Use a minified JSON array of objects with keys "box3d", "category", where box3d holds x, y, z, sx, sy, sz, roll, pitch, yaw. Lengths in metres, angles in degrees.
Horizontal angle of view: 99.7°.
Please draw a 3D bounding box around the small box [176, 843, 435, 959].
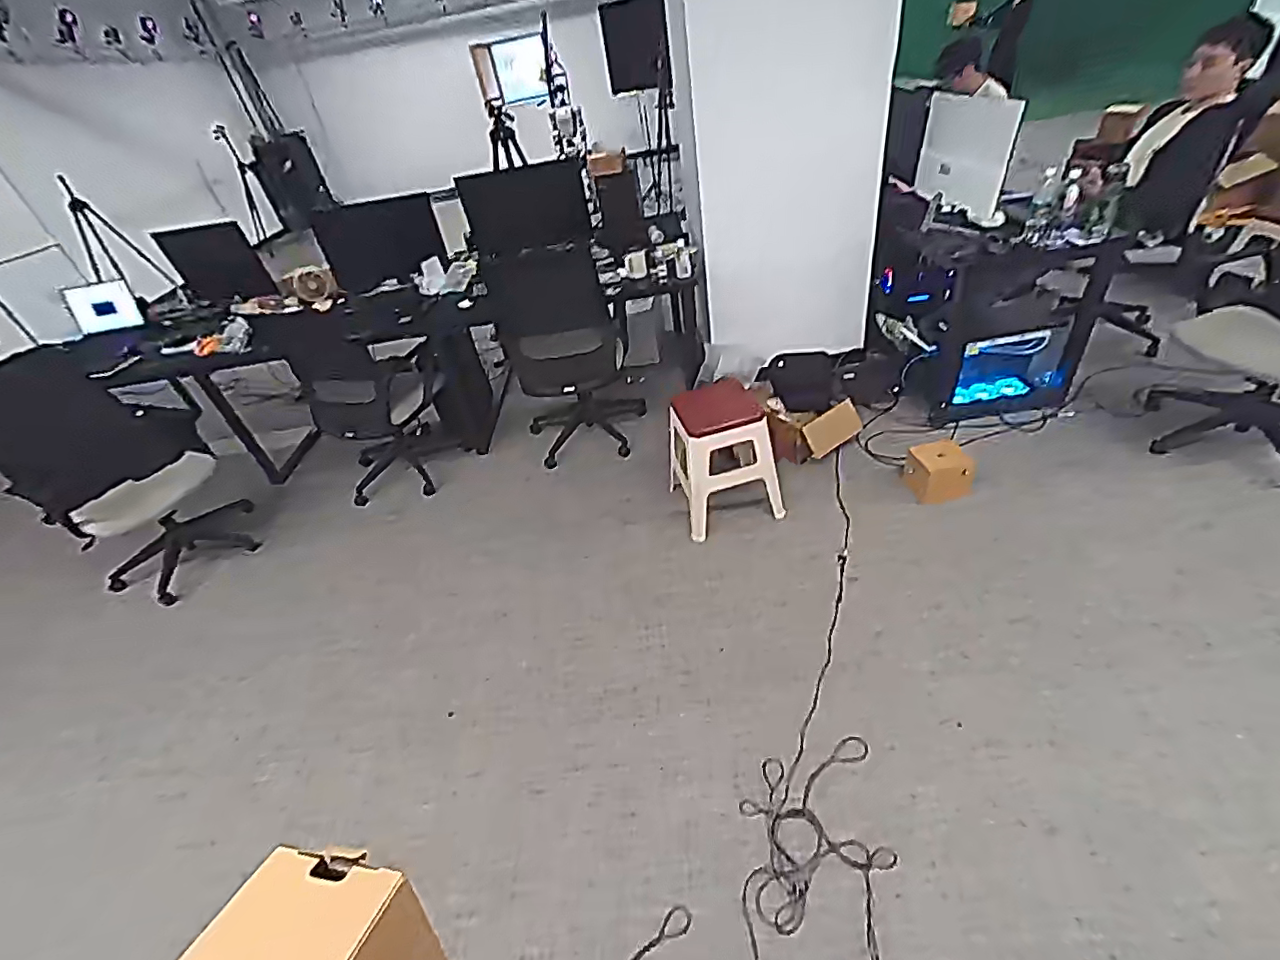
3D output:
[{"box3d":[-0.310,0.484,0.494,0.168,0.176,0.179,-2,21,18],"category":"small box"}]
